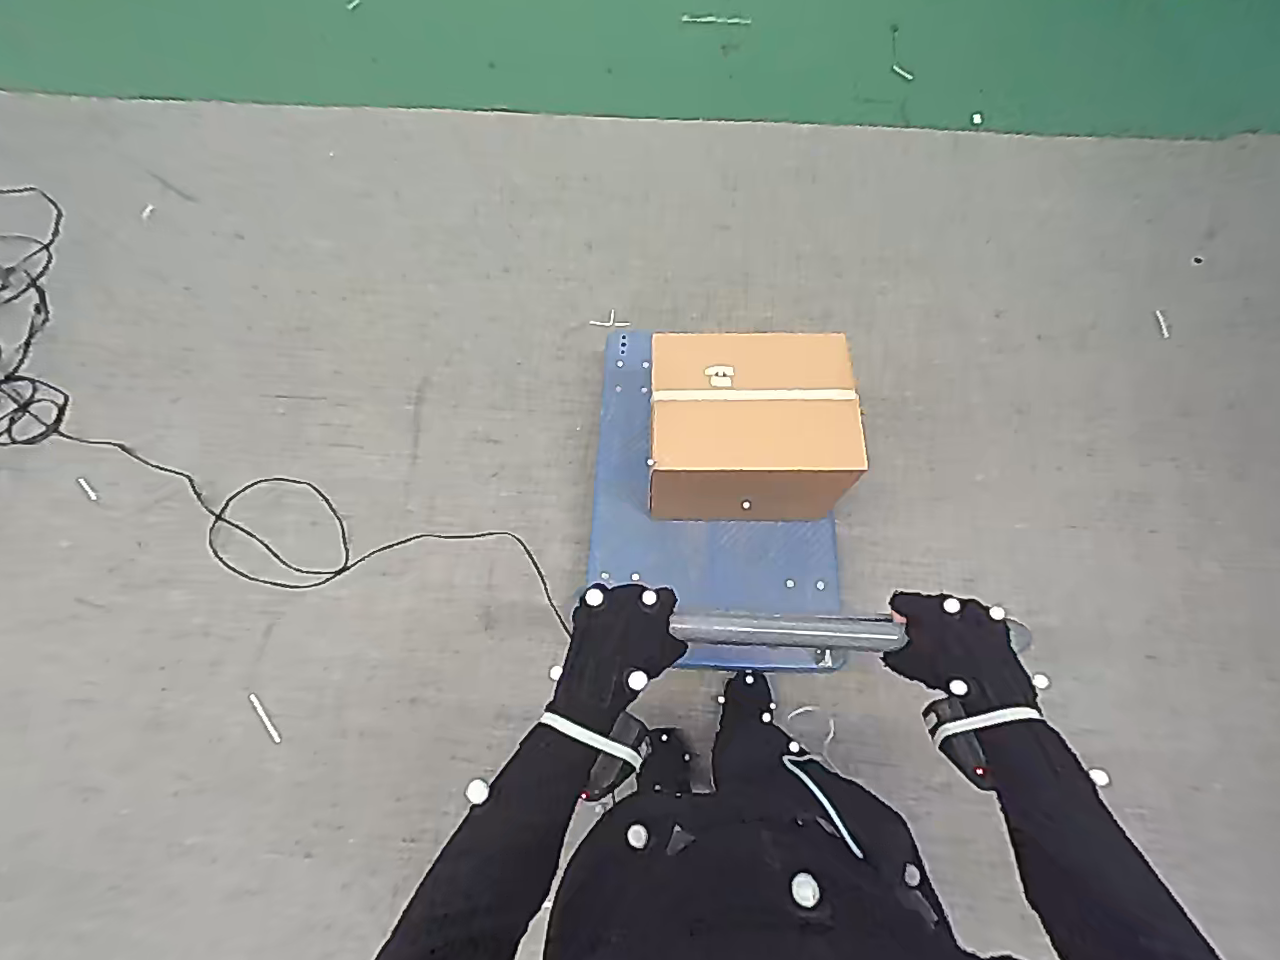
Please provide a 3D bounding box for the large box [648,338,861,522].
[{"bbox_3d":[0.226,-0.097,1.223,0.408,0.320,0.320,-2,67,1],"label":"large box"}]
